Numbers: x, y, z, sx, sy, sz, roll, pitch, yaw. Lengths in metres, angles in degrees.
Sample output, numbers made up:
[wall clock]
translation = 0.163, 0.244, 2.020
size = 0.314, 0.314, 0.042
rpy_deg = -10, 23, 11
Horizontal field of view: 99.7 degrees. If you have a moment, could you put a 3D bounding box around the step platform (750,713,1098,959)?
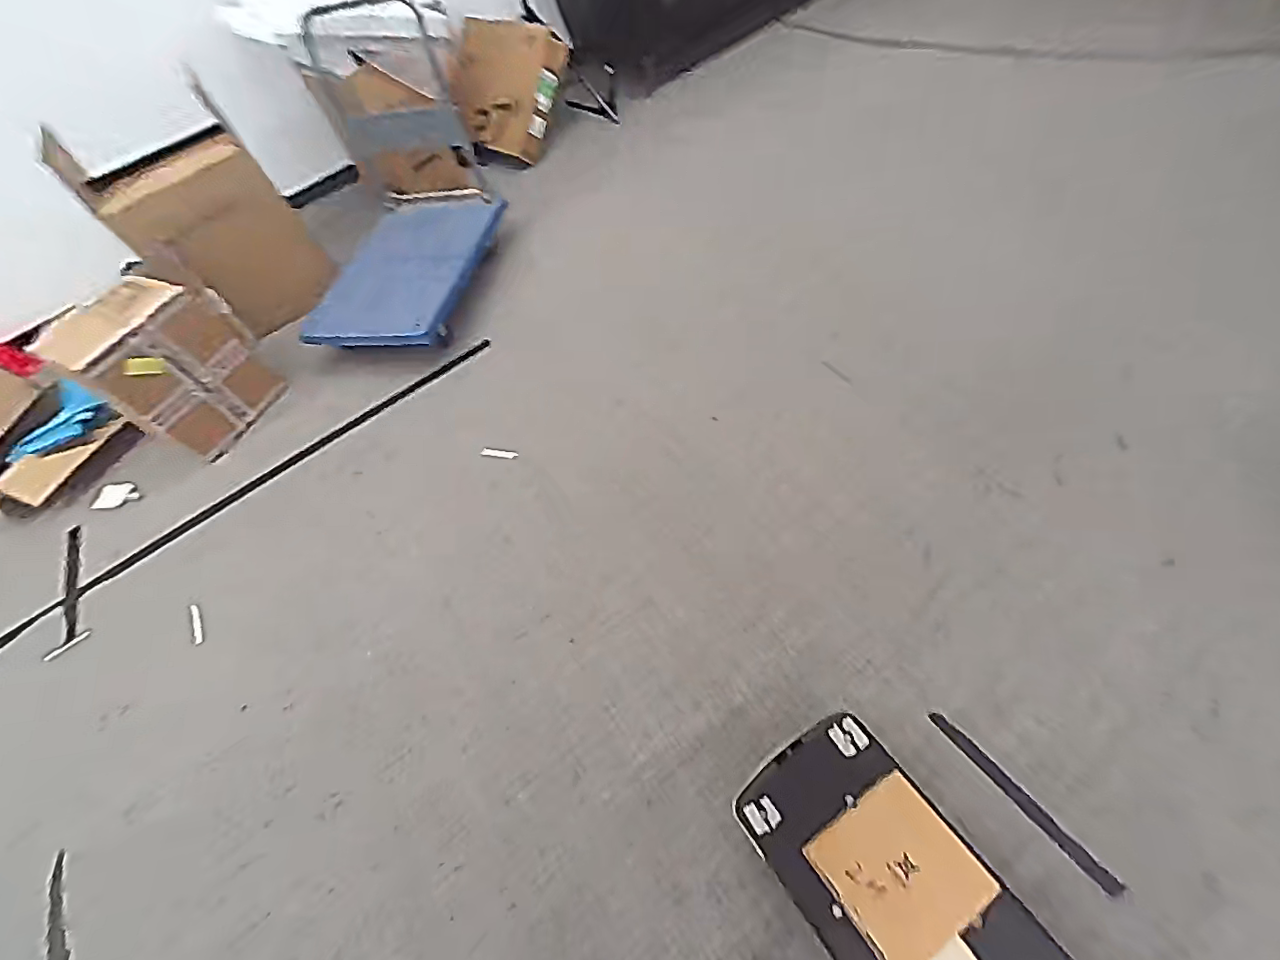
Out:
[step platform]
translation = 0.488, 0.729, 0.850
size = 0.286, 0.204, 0.684
rpy_deg = -35, 55, -11

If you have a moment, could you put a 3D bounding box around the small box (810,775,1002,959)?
[small box]
translation = 0.364, 0.561, 0.780
size = 0.179, 0.176, 0.168
rpy_deg = -34, 55, -10
